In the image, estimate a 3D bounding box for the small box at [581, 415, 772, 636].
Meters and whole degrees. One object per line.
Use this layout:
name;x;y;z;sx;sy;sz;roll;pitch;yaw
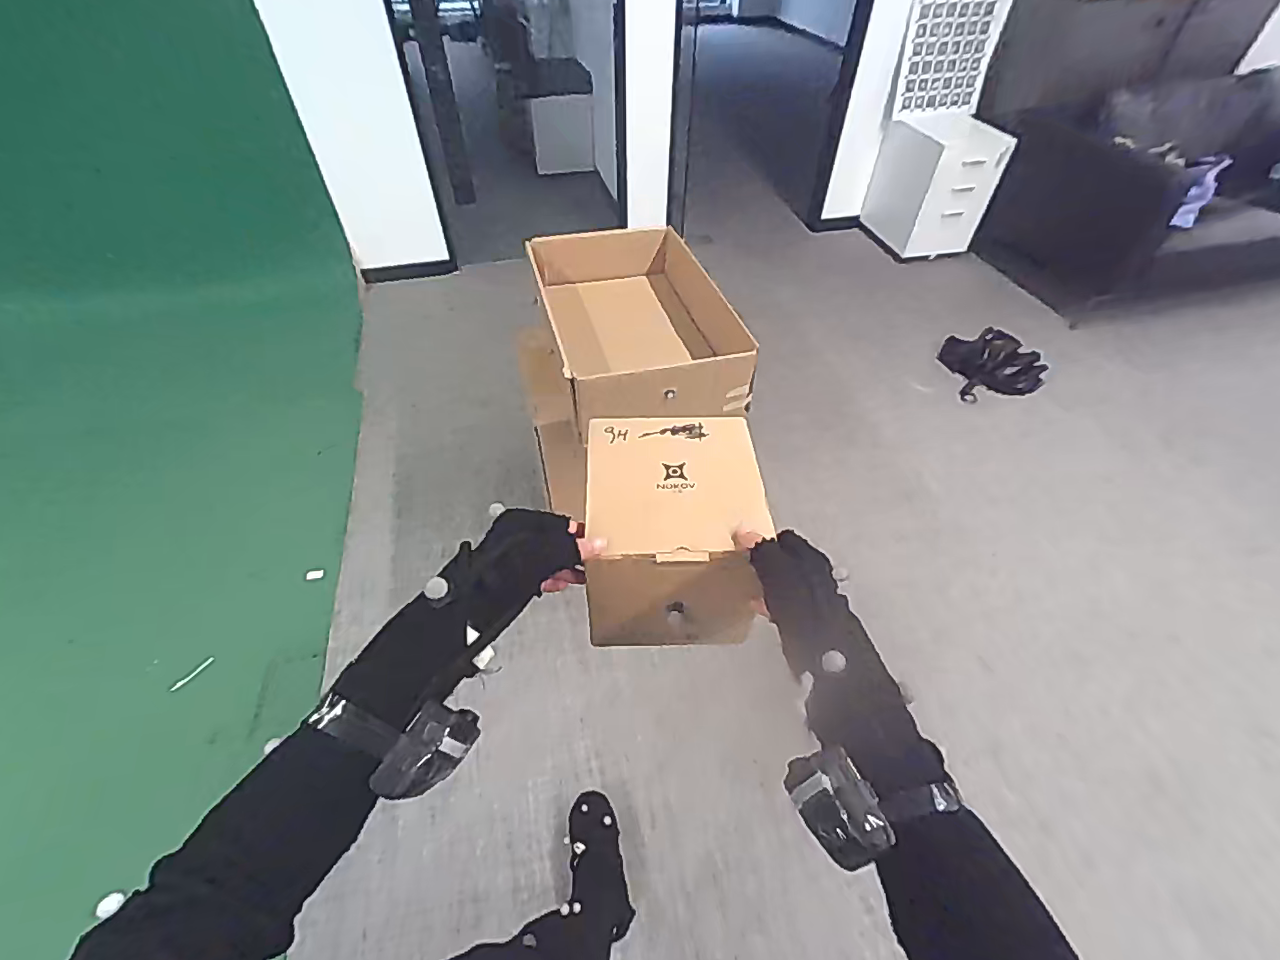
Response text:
small box;0.029;0.052;0.567;0.168;0.176;0.179;-1;48;-2
